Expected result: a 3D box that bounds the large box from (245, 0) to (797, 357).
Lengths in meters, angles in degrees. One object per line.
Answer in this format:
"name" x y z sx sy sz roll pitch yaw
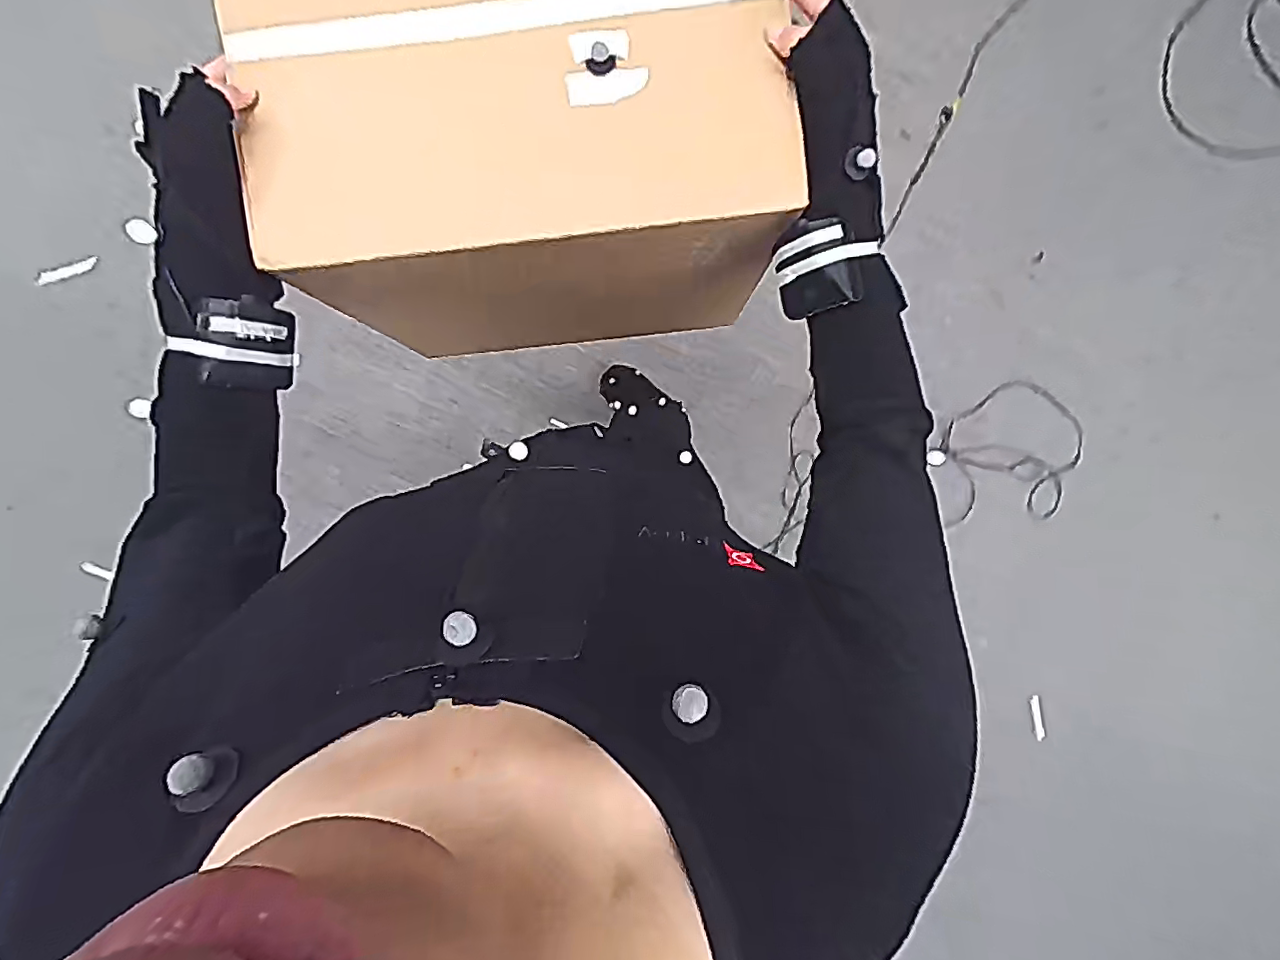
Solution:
"large box" -0.099 -0.337 0.558 0.408 0.320 0.320 -8 91 0
